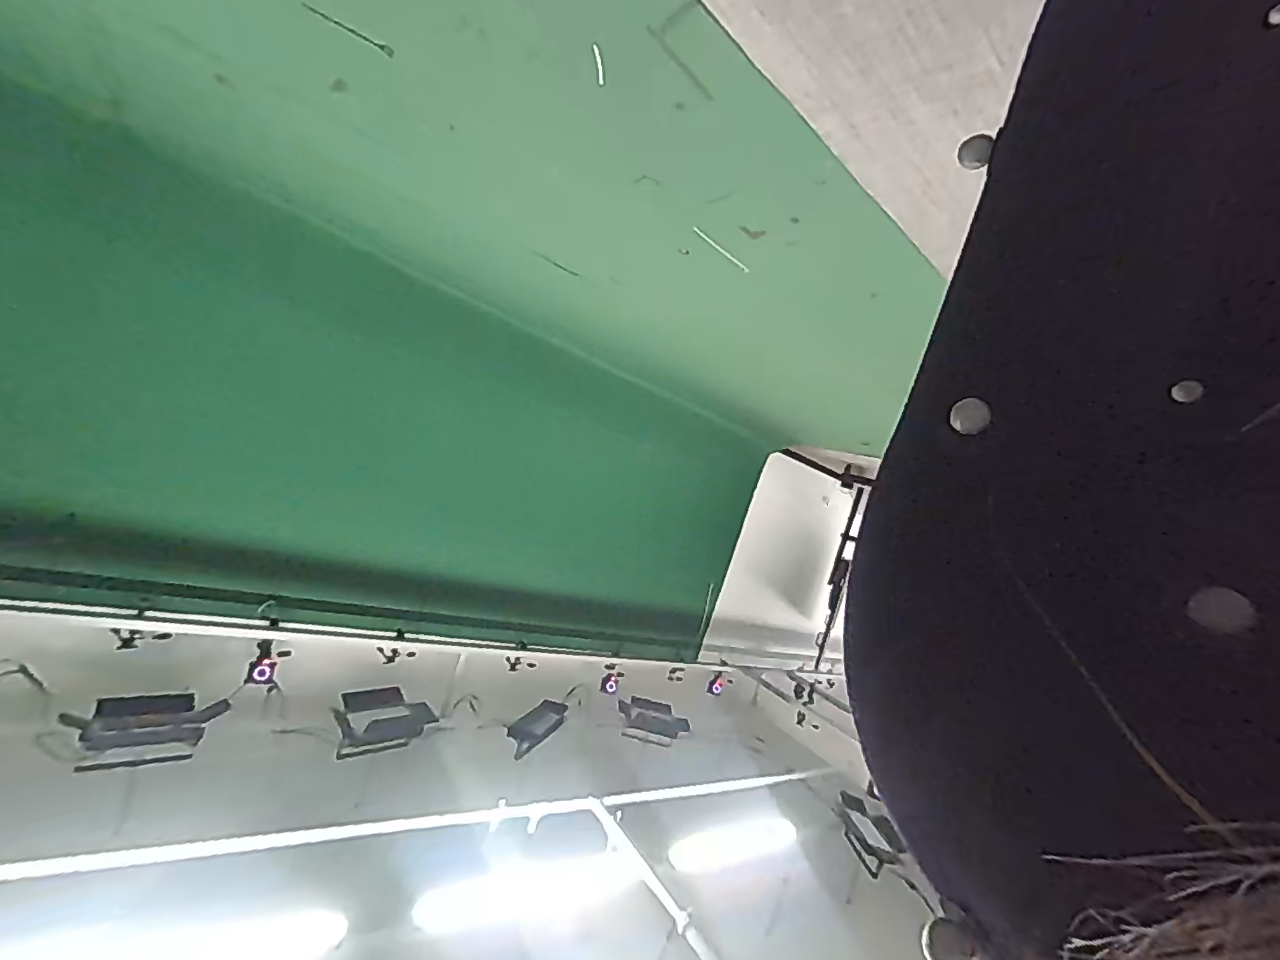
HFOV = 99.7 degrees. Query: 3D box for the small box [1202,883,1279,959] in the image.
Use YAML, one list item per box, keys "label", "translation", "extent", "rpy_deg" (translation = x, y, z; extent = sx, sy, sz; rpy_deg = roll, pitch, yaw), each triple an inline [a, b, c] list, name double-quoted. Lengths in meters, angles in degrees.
- label: "small box"
  translation: [1.723, 1.267, 1.504]
  extent: [0.179, 0.176, 0.168]
  rpy_deg: [18, -179, -33]
